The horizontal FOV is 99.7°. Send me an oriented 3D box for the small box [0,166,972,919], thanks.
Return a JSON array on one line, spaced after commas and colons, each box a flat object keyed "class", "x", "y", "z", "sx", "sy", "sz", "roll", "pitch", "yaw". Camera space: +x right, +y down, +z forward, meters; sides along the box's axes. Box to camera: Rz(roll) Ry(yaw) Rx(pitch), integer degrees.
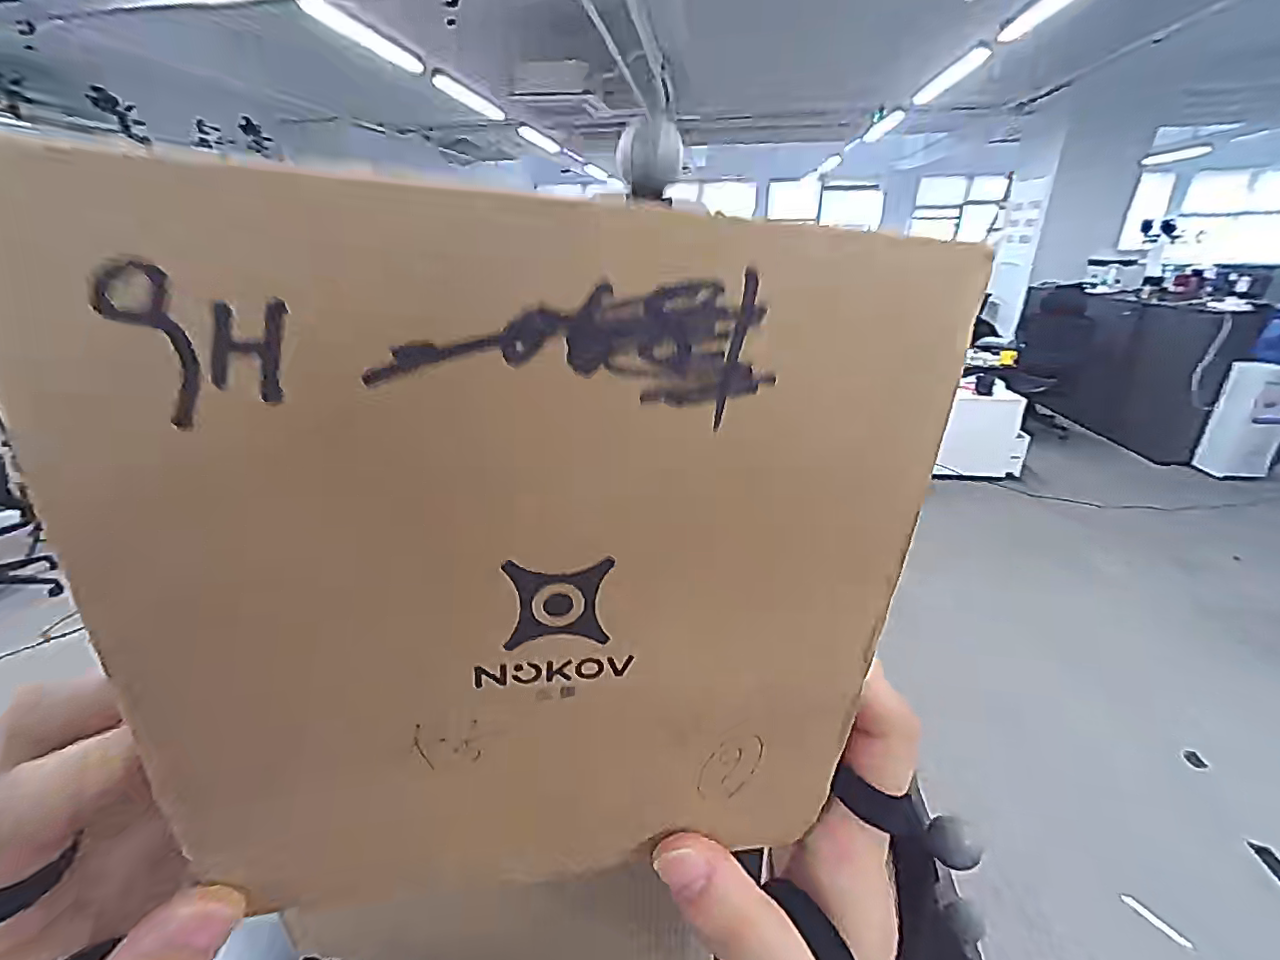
[{"class": "small box", "x": -0.038, "y": 0.002, "z": 0.192, "sx": 0.168, "sy": 0.179, "sz": 0.176, "roll": -1, "pitch": 25, "yaw": -12}]
